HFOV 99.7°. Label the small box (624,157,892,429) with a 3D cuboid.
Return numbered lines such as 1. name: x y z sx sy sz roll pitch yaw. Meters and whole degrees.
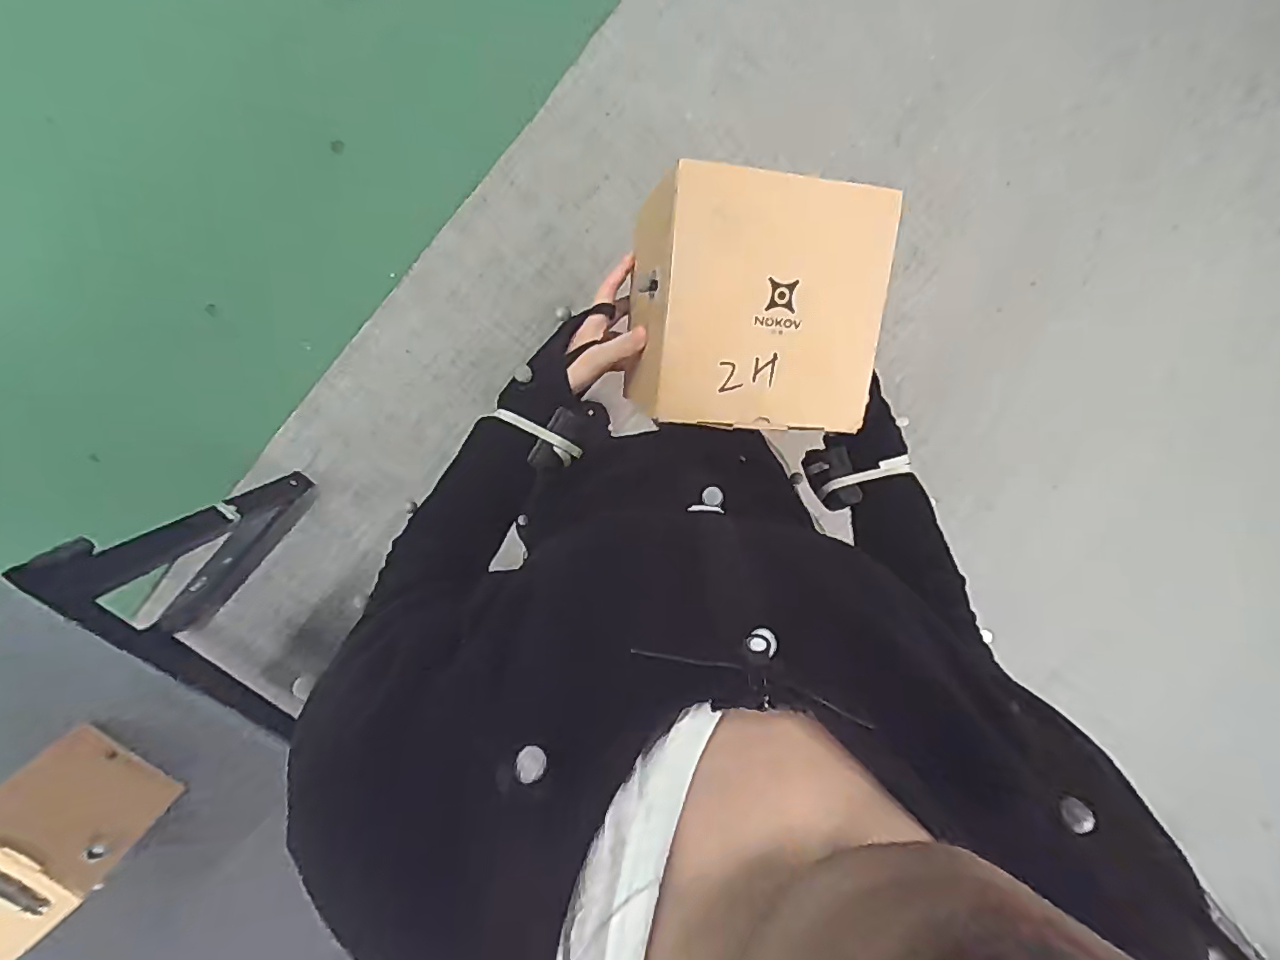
1. small box: 0.081 -0.146 0.466 0.168 0.176 0.179 2 105 -11
